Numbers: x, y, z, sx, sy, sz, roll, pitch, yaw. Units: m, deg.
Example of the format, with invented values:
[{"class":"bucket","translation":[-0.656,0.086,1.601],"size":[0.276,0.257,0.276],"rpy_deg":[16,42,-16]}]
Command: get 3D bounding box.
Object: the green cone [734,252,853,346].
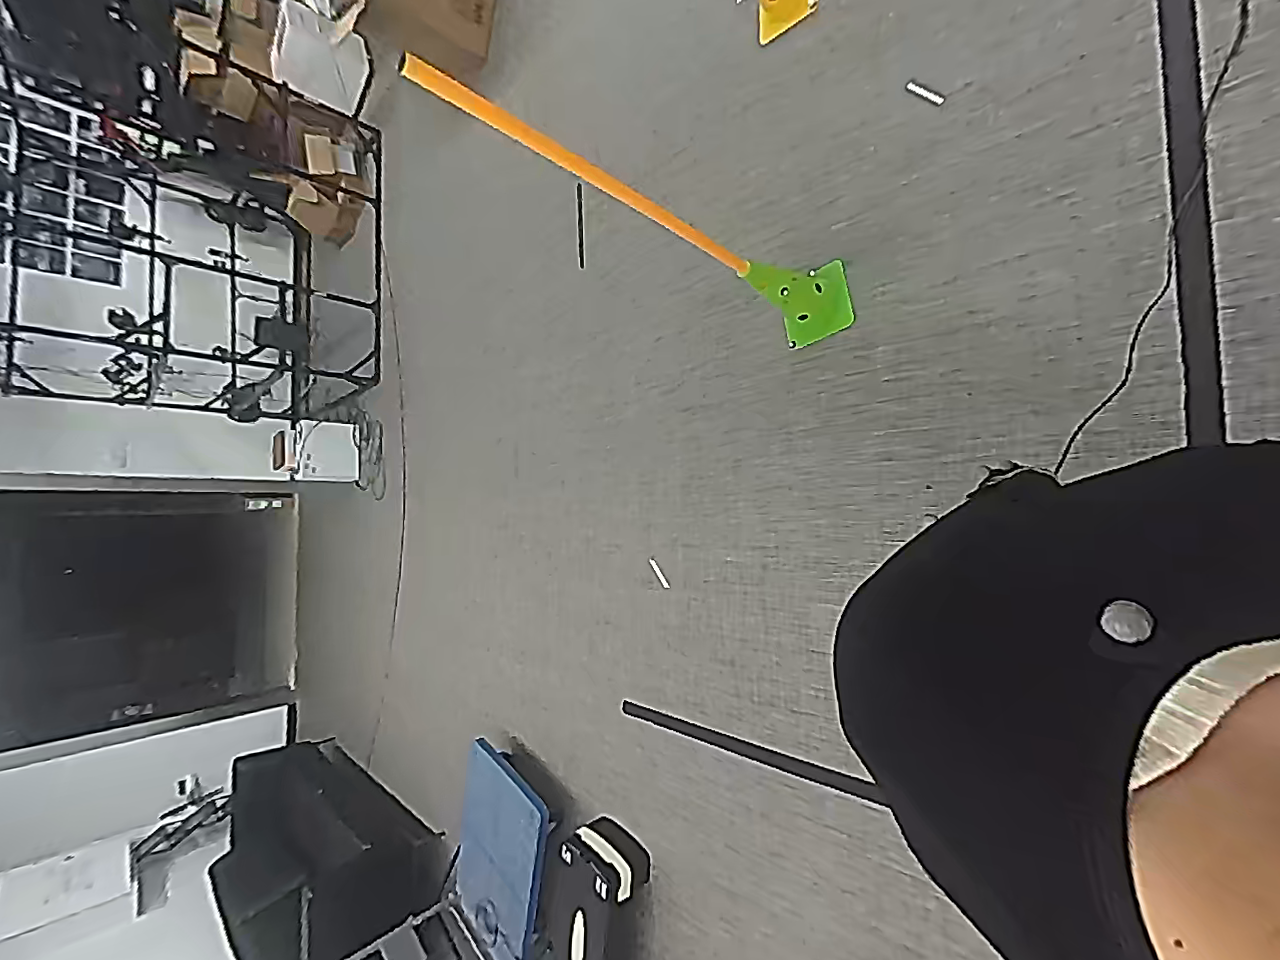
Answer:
[{"class":"green cone","translation":[0.374,-0.513,1.416],"size":[0.200,0.368,0.202],"rpy_deg":[-19,73,44]}]
